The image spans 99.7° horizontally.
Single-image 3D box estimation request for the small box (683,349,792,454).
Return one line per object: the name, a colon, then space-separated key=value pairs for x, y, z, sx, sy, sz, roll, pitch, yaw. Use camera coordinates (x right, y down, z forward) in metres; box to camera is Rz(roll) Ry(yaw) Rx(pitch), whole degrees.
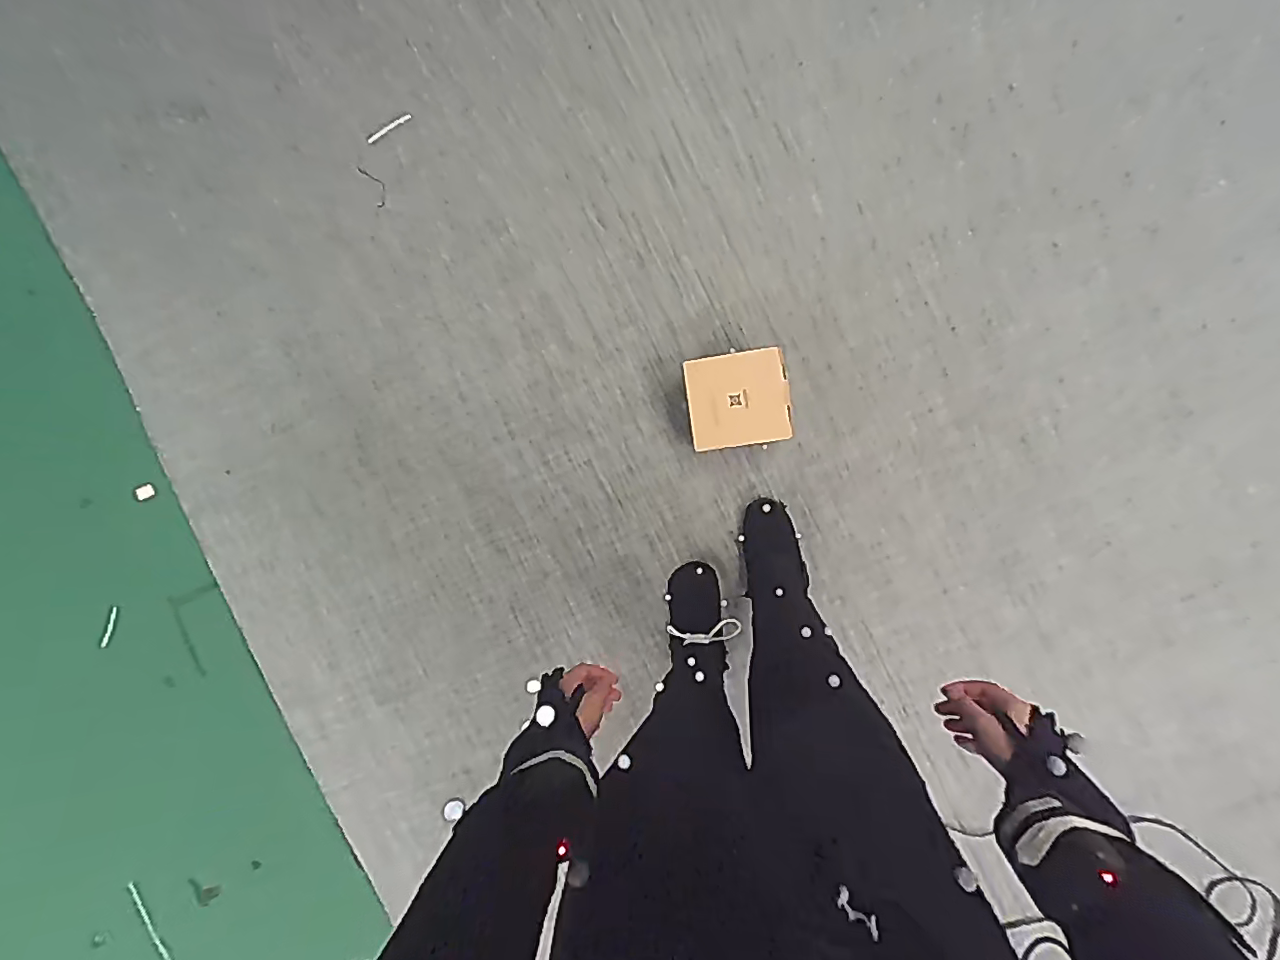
small box: x=0.183 y=-0.145 z=1.037 sx=0.179 sy=0.176 sz=0.168 roll=-8 pitch=93 yaw=9
